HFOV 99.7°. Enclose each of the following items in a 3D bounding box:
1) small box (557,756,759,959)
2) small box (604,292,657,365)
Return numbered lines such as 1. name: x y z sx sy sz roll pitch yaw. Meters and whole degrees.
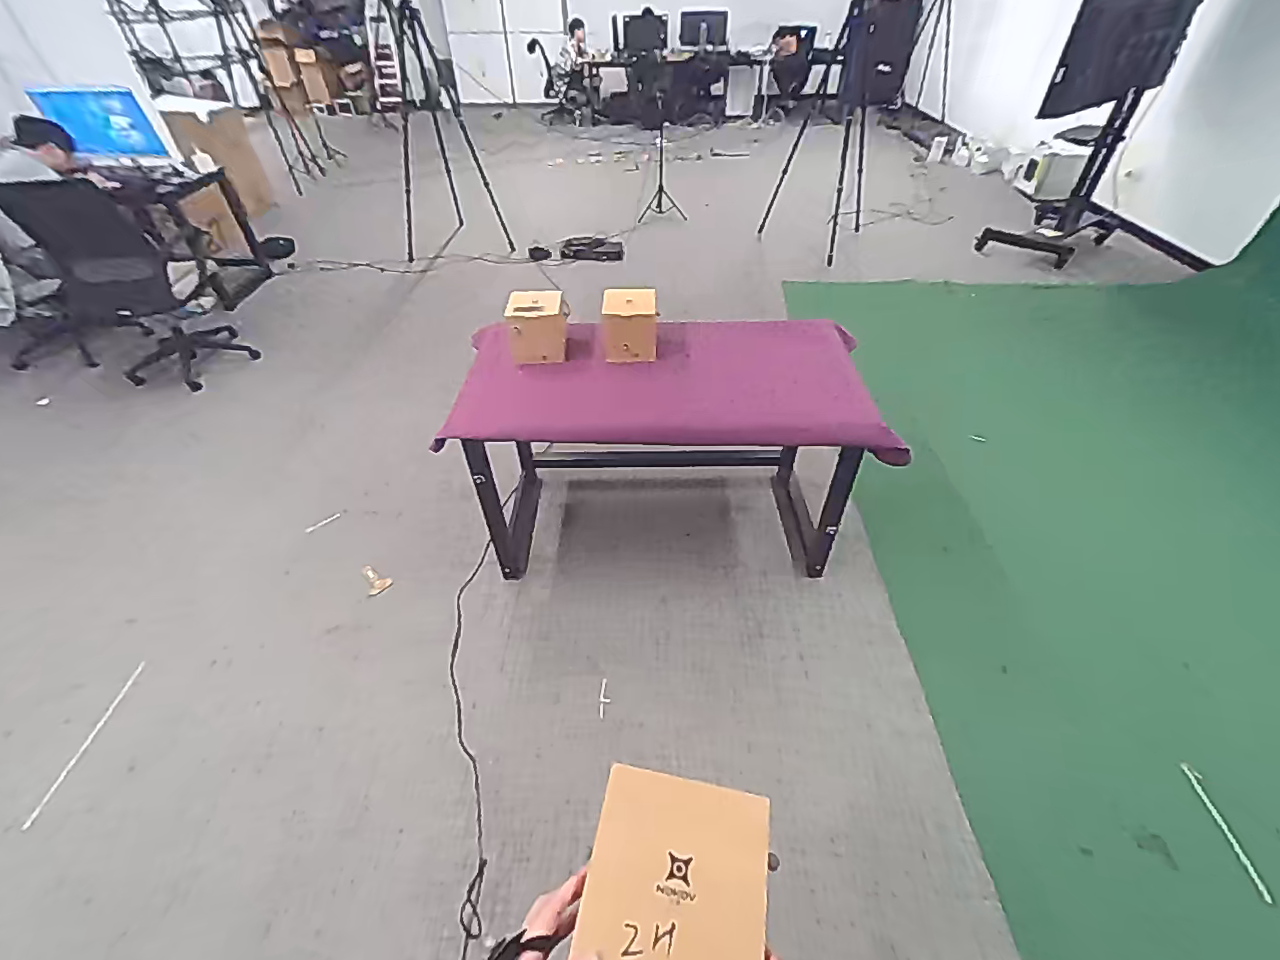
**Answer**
1. small box: 0.025 0.423 0.561 0.168 0.176 0.179 8 45 9
2. small box: -0.027 -0.493 1.754 0.168 0.176 0.179 -1 45 1
